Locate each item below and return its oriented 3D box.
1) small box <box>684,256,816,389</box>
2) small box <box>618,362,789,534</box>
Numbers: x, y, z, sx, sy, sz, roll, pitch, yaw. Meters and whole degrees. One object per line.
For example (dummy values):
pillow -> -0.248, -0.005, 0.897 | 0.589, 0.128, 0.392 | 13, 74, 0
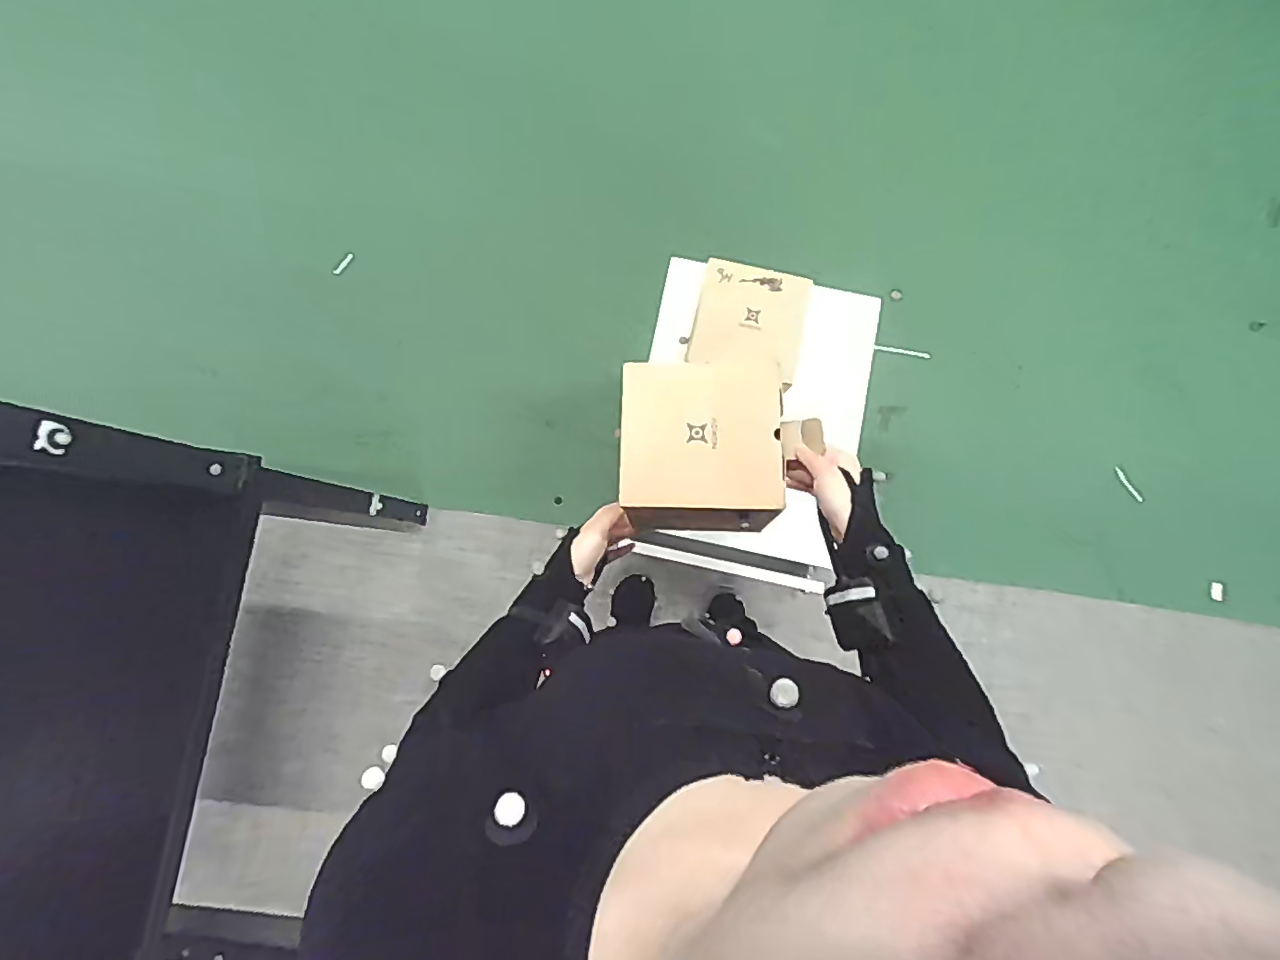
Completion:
small box -> 0.166, -0.227, 0.880 | 0.168, 0.176, 0.179 | 13, 83, 0
small box -> 0.071, -0.028, 0.642 | 0.179, 0.176, 0.168 | 1, 76, 3
